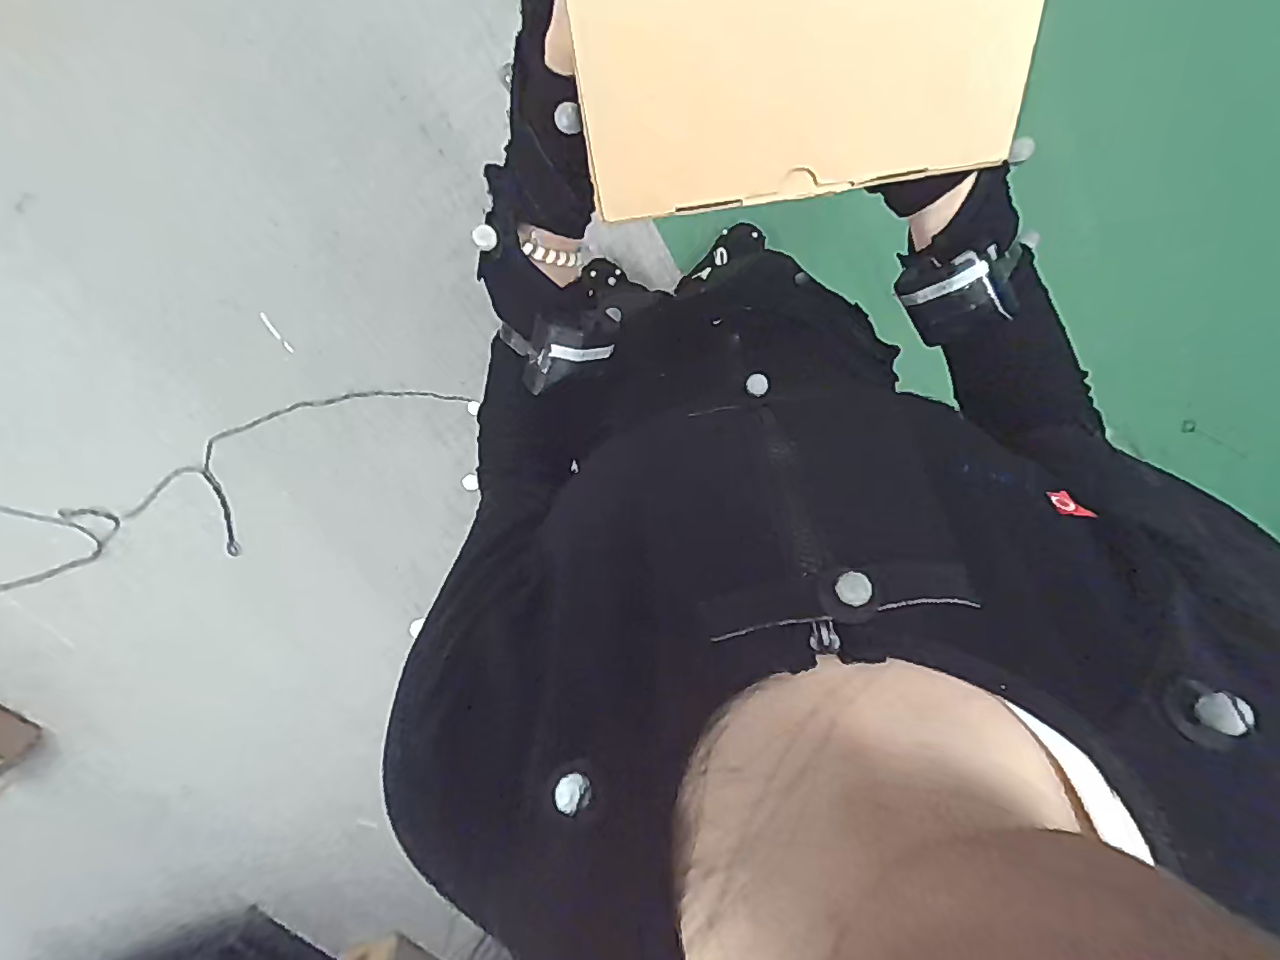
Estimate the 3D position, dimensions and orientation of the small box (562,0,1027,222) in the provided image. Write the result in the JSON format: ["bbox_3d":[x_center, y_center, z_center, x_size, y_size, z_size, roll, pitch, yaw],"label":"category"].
[{"bbox_3d":[0.050,-0.236,0.242,0.168,0.176,0.179,-7,127,6],"label":"small box"}]
